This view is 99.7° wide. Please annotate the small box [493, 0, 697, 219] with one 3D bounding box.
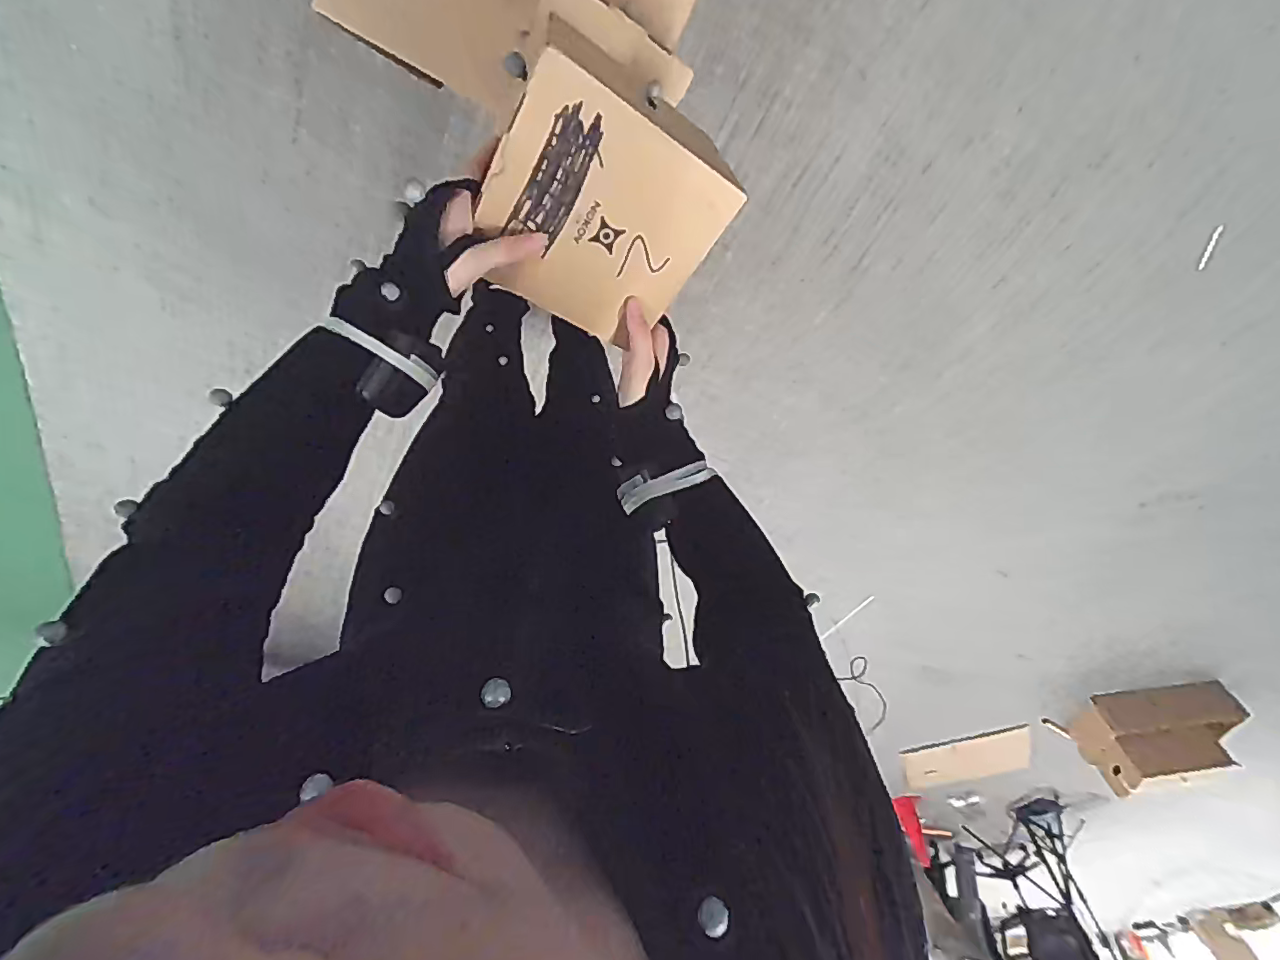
[{"bbox_3d":[-0.059,-0.455,0.643,0.168,0.176,0.179,22,125,-23],"label":"small box"}]
